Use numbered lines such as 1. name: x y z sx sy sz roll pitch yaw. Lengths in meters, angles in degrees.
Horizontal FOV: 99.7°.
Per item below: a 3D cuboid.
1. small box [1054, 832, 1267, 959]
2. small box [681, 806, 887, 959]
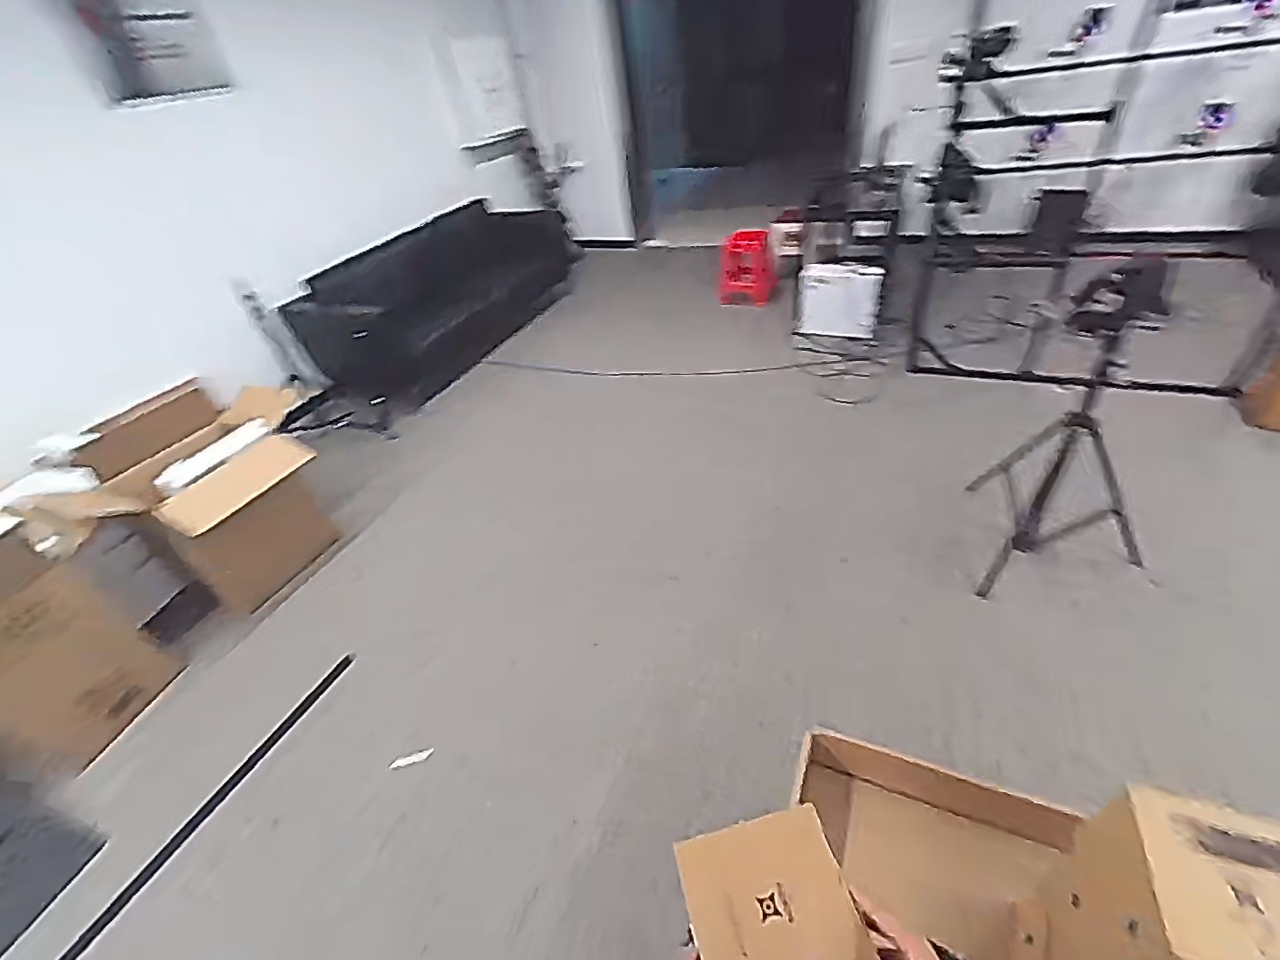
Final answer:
1. small box: 0.678 0.625 0.719 0.168 0.176 0.179 13 42 26
2. small box: 0.154 0.517 0.626 0.179 0.176 0.168 -13 41 -8
